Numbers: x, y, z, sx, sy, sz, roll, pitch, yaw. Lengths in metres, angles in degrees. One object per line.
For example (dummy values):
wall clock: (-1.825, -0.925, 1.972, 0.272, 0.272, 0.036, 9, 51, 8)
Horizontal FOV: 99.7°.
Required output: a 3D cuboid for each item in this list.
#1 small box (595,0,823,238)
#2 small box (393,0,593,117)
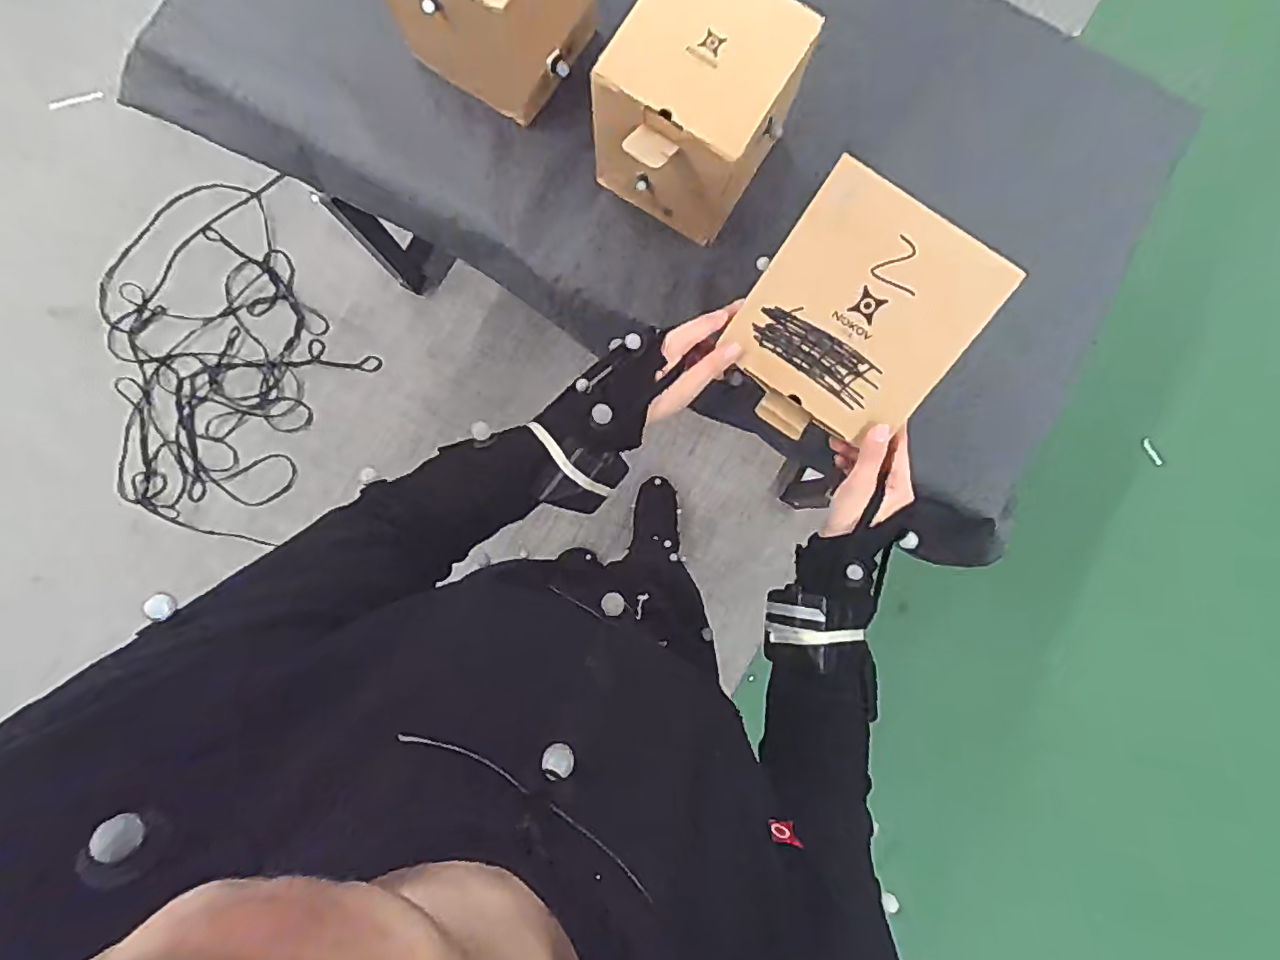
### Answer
small box: (0.063, -0.414, 0.600, 0.168, 0.176, 0.179, 31, 86, -1)
small box: (-0.167, -0.556, 0.597, 0.179, 0.176, 0.168, 33, 86, -1)
